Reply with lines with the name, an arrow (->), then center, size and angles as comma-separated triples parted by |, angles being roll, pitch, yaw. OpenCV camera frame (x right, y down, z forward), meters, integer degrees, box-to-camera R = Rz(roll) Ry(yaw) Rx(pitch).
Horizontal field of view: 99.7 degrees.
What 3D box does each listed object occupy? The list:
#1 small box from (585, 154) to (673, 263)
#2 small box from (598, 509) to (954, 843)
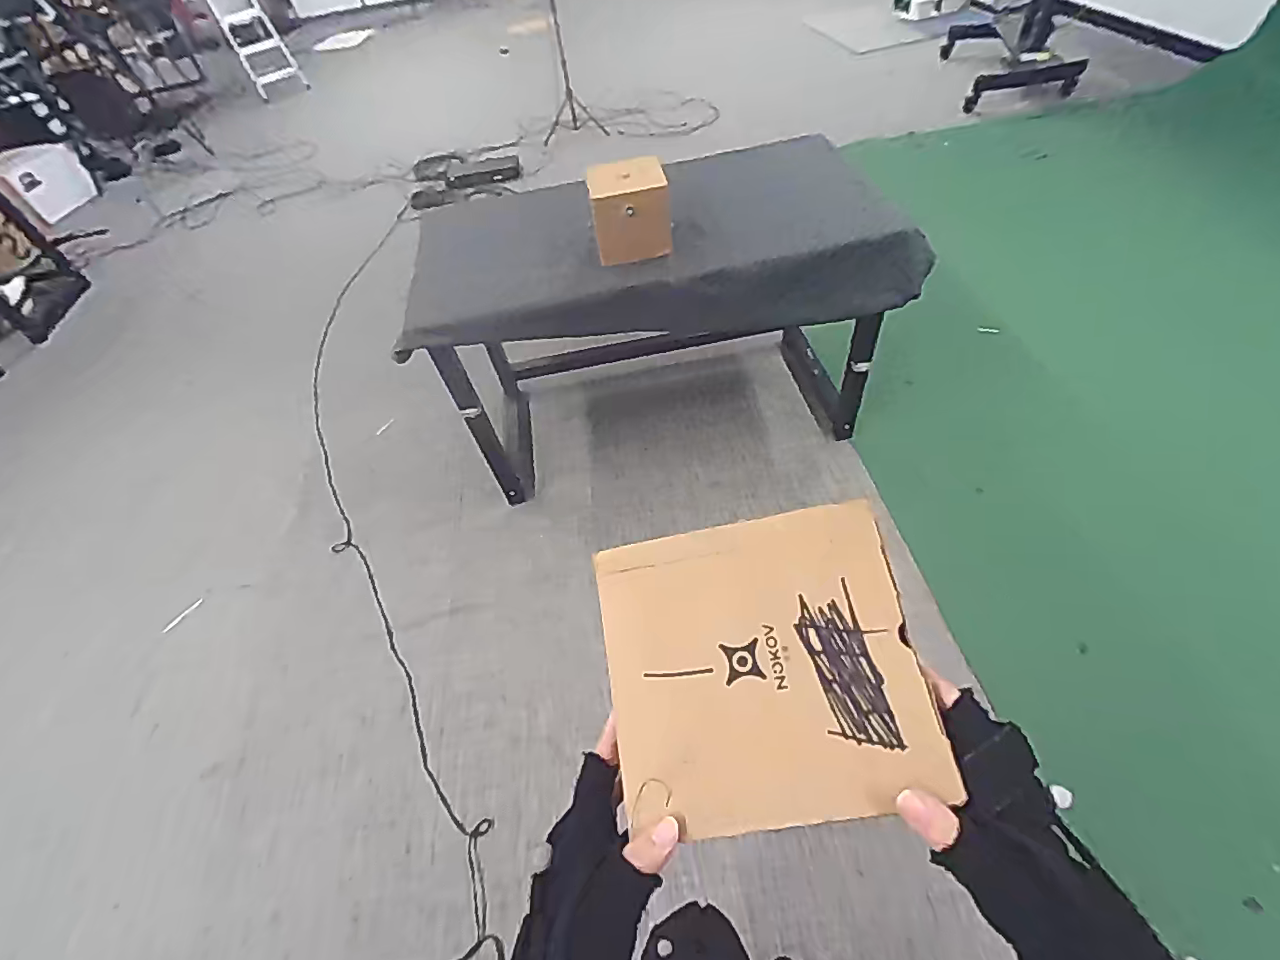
small box -> -0.024, -0.641, 1.288 | 0.179, 0.176, 0.168 | -10, 53, -1
small box -> 0.080, 0.134, 0.389 | 0.179, 0.176, 0.168 | -12, 68, 6
